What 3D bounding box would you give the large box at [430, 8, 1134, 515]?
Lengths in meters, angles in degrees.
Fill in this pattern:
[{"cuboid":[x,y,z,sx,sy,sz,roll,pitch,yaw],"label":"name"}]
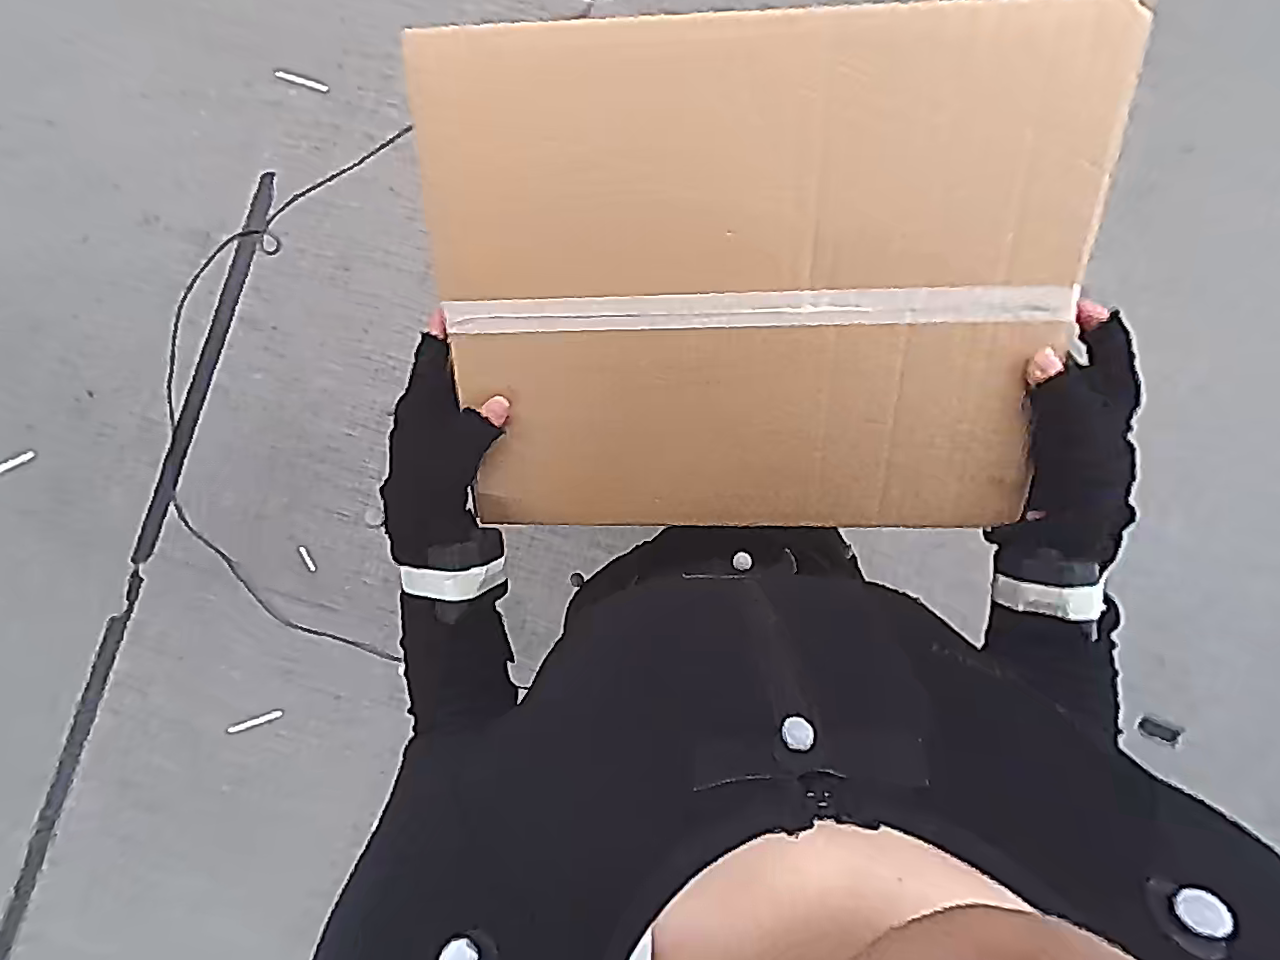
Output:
[{"cuboid":[0.082,-0.171,0.498,0.408,0.320,0.320,1,113,3],"label":"large box"}]
